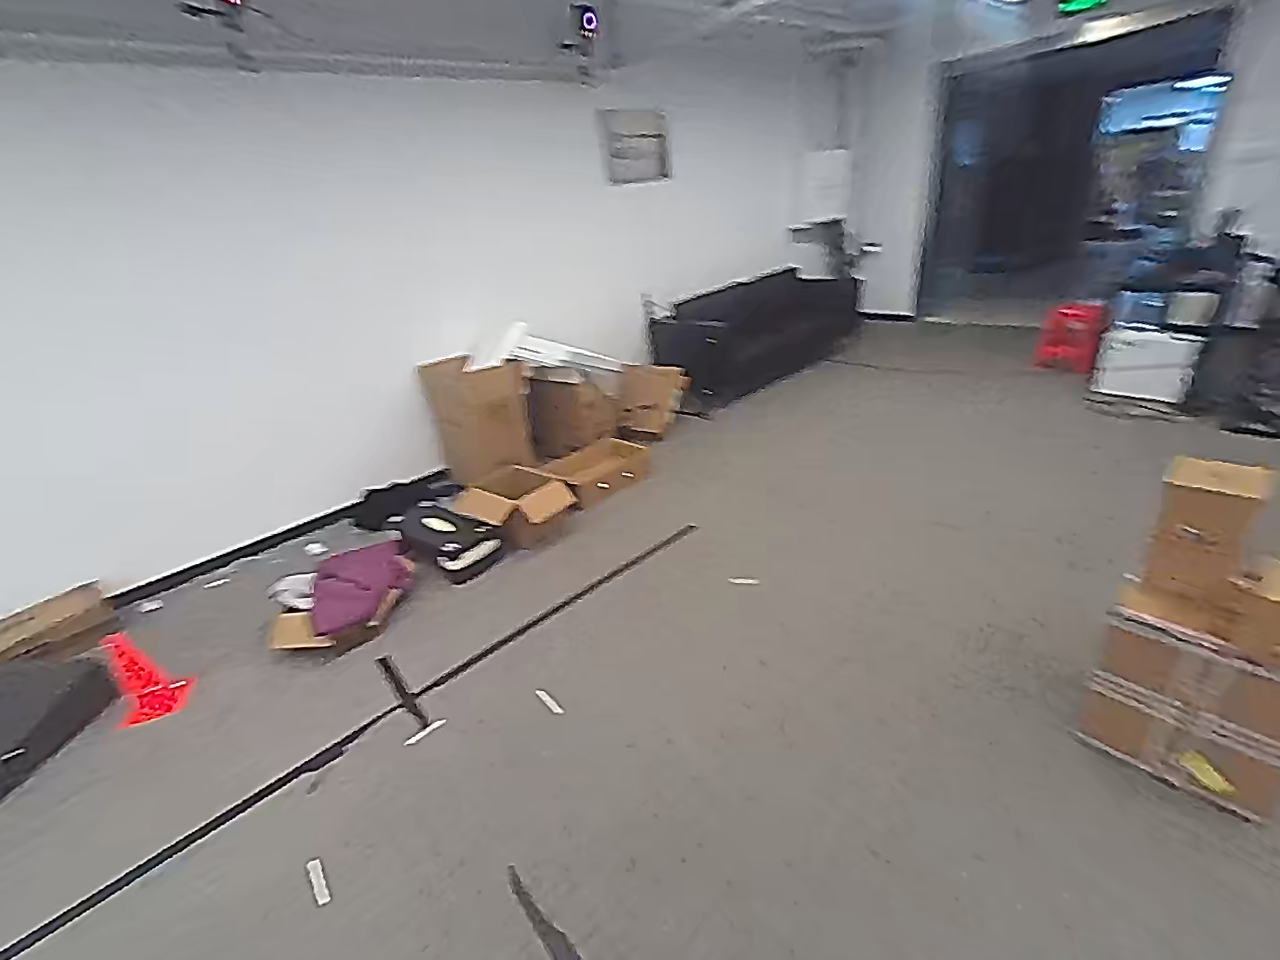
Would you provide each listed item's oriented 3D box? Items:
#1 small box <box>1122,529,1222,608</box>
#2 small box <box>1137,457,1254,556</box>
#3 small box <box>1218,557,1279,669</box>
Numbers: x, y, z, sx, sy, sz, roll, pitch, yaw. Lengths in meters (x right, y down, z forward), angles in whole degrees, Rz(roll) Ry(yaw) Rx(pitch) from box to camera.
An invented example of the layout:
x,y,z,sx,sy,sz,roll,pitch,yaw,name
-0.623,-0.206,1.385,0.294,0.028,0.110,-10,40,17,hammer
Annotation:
x,y,z,sx,sy,sz,roll,pitch,yaw,name
1.430,0.207,1.447,0.179,0.176,0.168,-28,31,-33,small box
1.405,0.064,1.375,0.179,0.176,0.168,-29,31,-32,small box
1.468,0.312,1.231,0.179,0.176,0.168,-29,34,-33,small box
